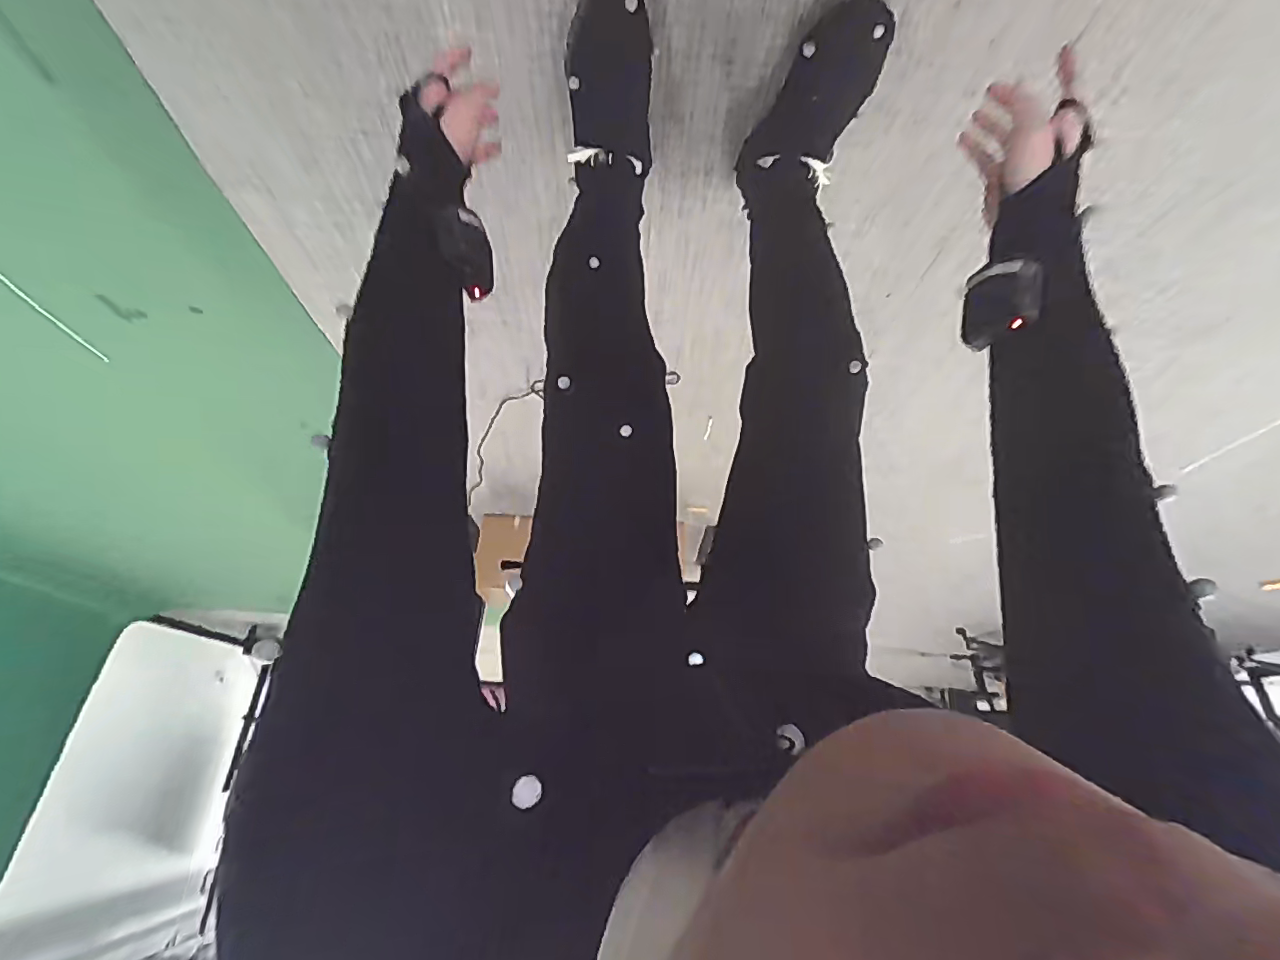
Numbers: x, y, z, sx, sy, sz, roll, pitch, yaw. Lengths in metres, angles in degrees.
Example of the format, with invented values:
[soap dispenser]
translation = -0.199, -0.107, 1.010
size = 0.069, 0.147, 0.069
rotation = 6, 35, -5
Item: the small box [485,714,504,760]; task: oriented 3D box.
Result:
[small box]
translation = -0.674, 1.077, 2.271
size = 0.168, 0.176, 0.179
rotation = 2, 151, -3
